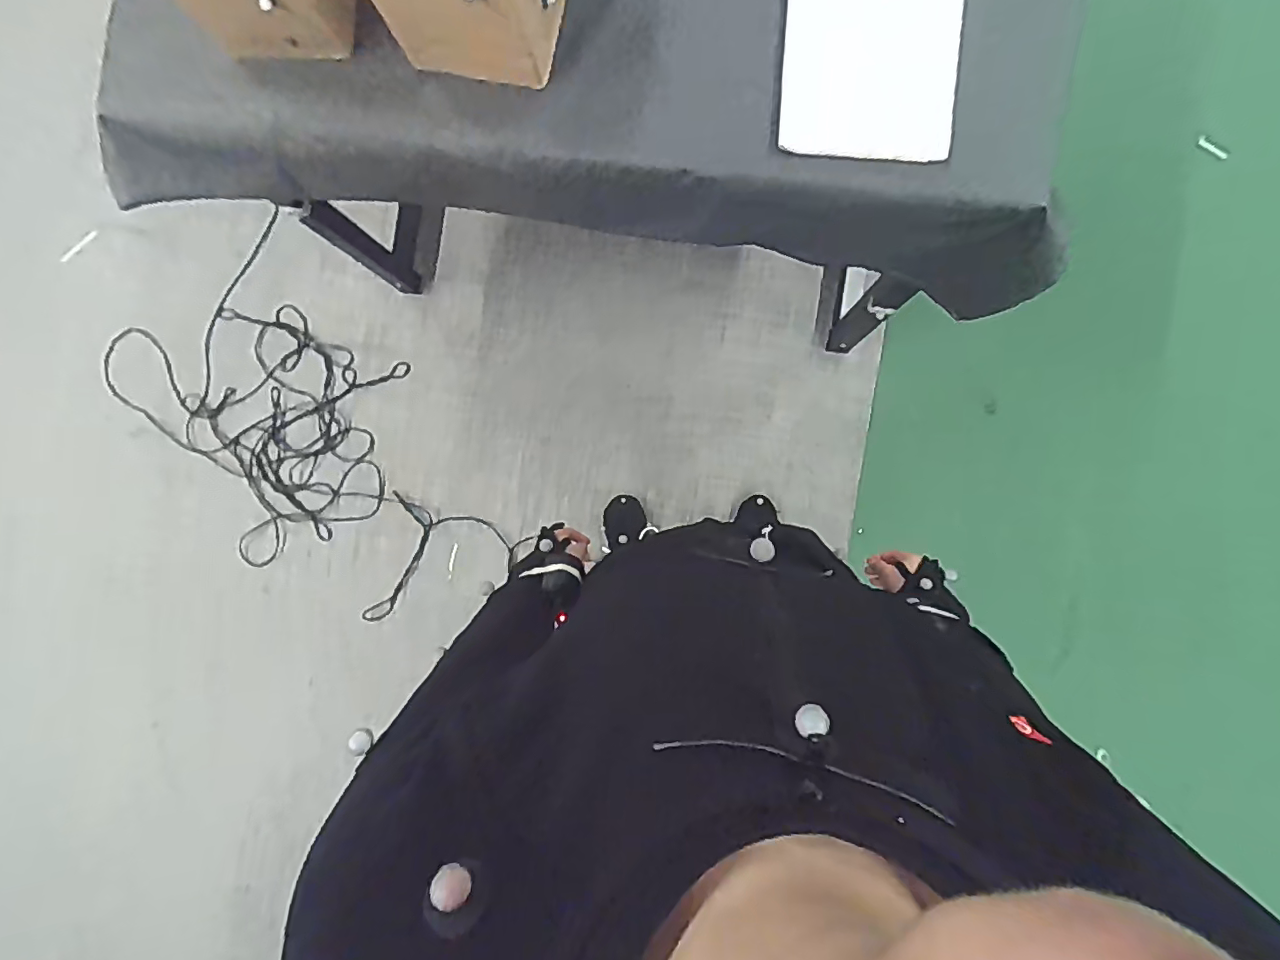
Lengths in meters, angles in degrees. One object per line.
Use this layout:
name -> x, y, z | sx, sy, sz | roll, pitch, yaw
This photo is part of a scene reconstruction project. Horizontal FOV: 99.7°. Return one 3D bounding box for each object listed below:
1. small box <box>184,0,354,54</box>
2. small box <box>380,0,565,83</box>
small box -> -0.445, -0.631, 0.615 | 0.168, 0.176, 0.179 | 4, 88, 3
small box -> -0.191, -0.583, 0.594 | 0.179, 0.176, 0.168 | 13, 89, 4
